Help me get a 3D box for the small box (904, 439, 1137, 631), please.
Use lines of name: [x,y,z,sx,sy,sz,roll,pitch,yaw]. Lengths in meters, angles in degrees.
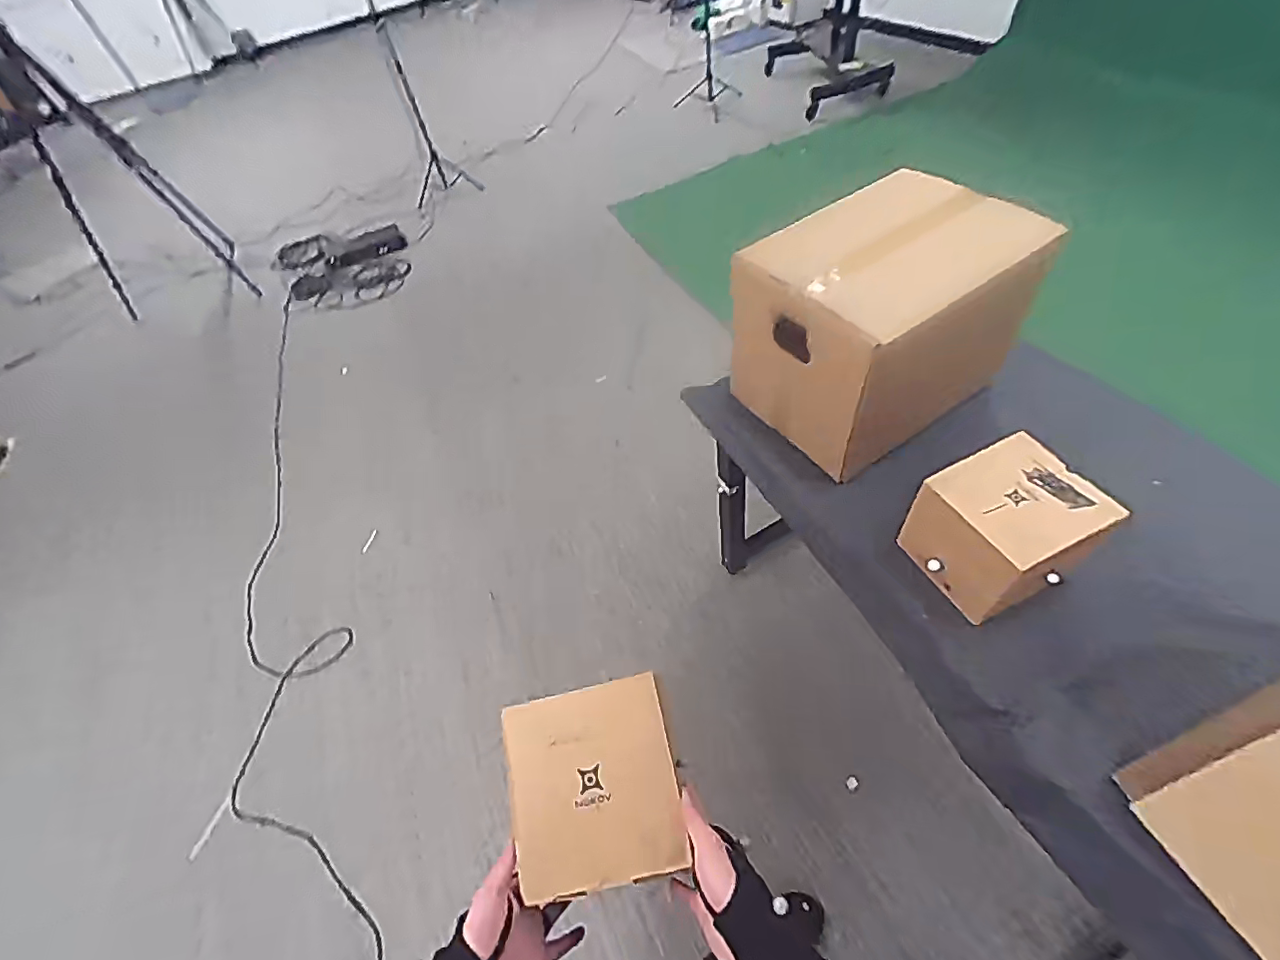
small box: [0.506,0.080,0.752,0.179,0.176,0.168,-25,53,-8]
